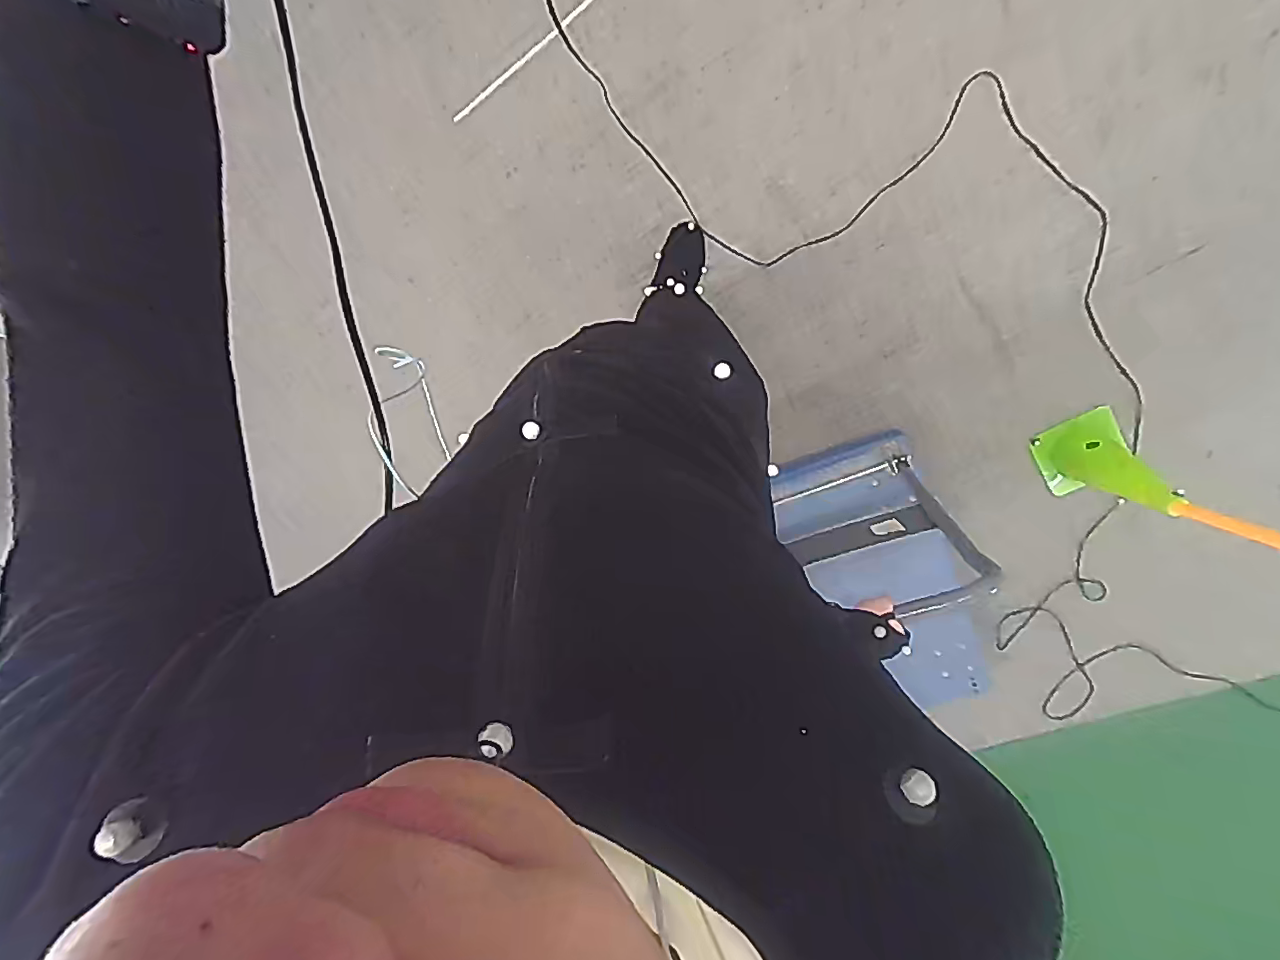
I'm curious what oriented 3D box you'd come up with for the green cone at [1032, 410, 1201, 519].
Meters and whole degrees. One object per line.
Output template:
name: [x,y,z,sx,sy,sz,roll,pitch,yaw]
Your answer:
green cone: [1.154,0.004,1.280,0.202,0.368,0.200,-31,105,18]
